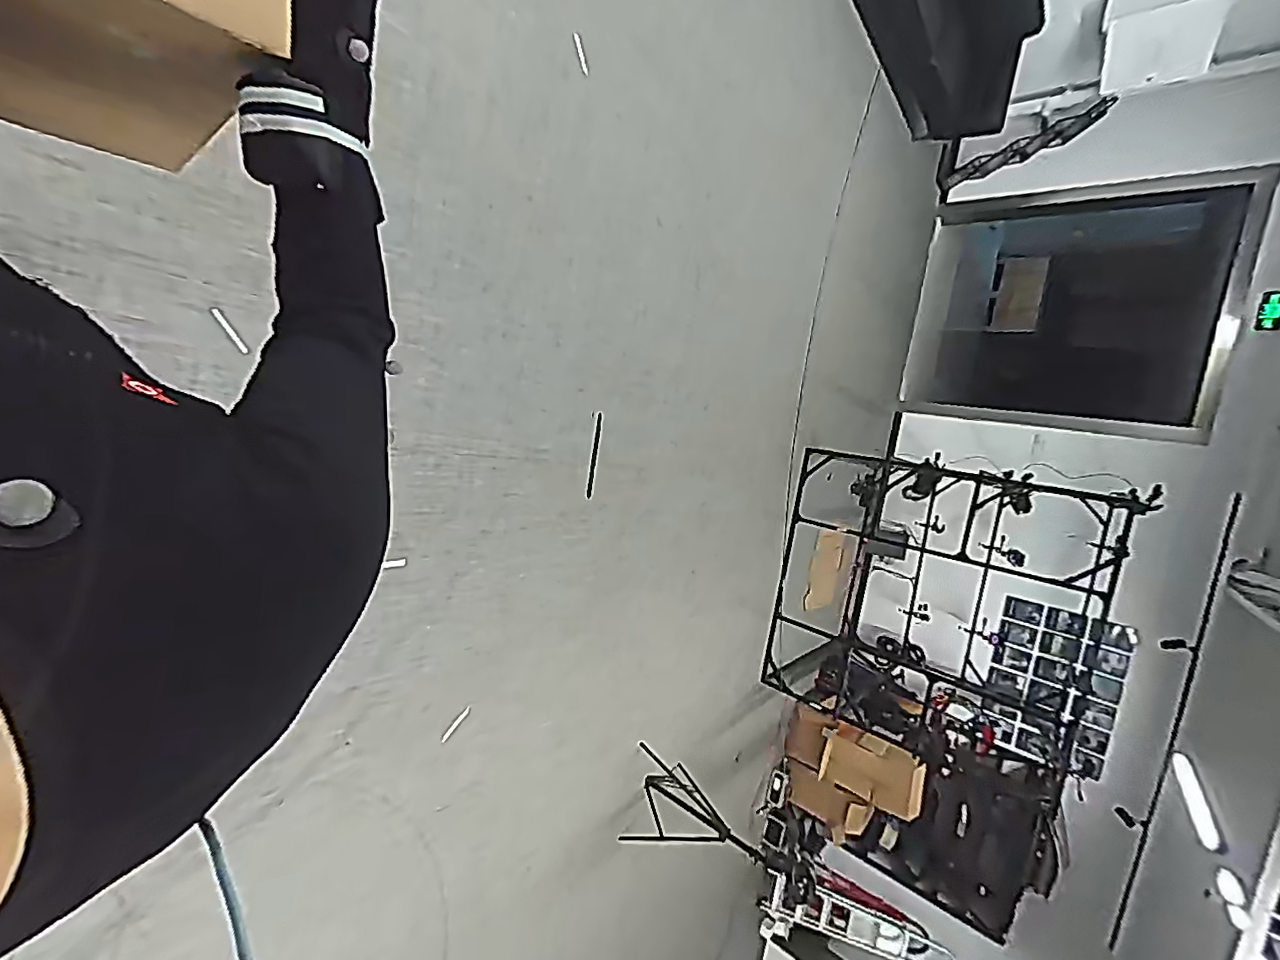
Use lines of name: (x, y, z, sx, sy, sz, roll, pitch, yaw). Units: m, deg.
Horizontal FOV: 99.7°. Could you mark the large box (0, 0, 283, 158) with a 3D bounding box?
large box: (-0.478, -0.444, 0.288, 0.408, 0.320, 0.320, -5, 101, -51)
